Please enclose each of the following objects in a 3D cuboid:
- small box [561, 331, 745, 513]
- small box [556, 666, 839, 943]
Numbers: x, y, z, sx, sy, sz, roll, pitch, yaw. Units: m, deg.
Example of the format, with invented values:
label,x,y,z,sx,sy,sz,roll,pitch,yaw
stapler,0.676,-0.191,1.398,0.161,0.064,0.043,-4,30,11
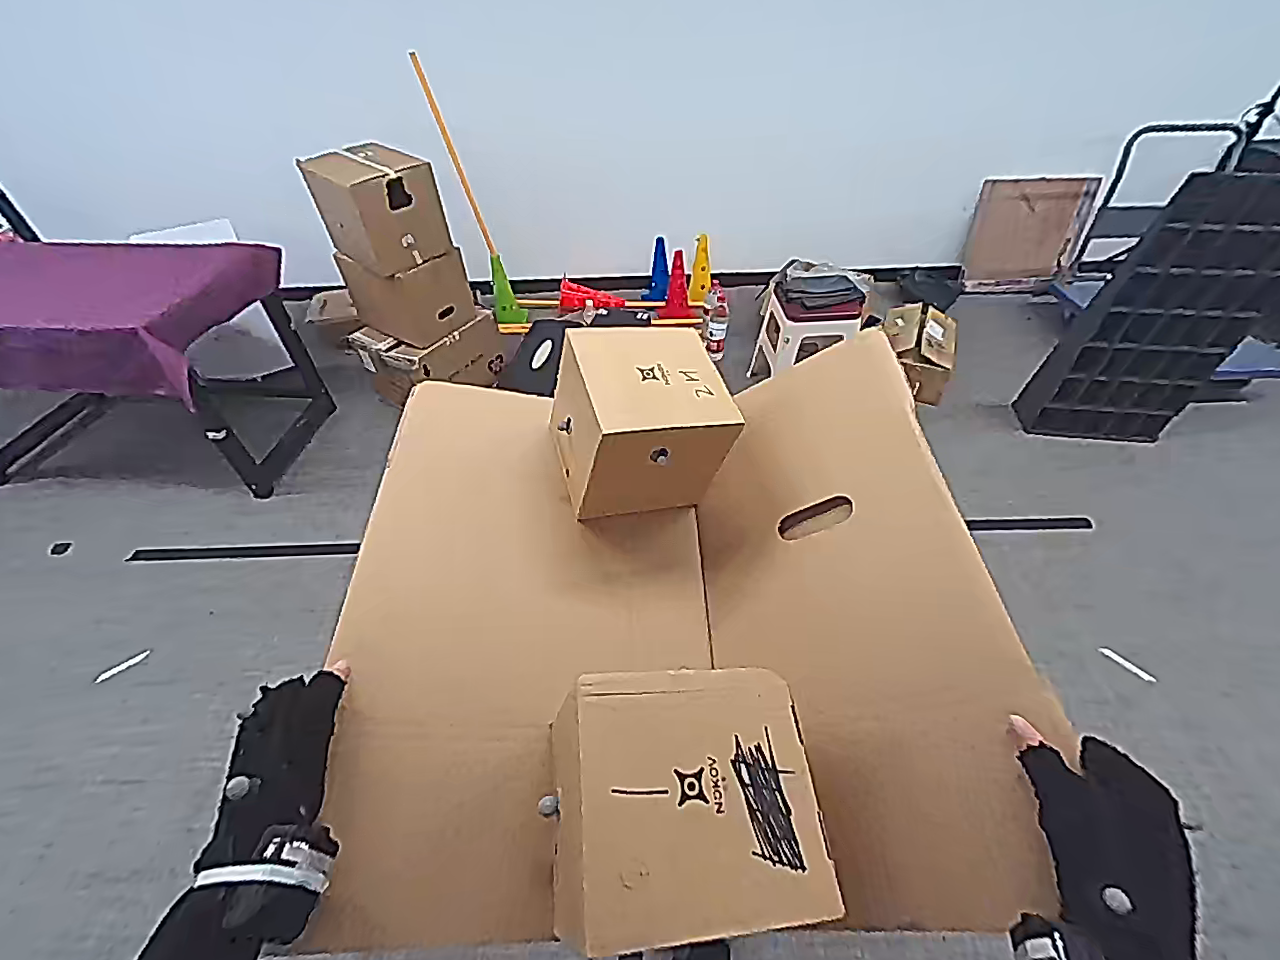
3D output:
label,x,y,z,sx,sy,sz,roll,pitch,yaw
small box,0.001,-0.070,0.693,0.179,0.176,0.168,-5,56,-22
small box,0.027,0.262,0.452,0.179,0.176,0.168,3,54,-14
